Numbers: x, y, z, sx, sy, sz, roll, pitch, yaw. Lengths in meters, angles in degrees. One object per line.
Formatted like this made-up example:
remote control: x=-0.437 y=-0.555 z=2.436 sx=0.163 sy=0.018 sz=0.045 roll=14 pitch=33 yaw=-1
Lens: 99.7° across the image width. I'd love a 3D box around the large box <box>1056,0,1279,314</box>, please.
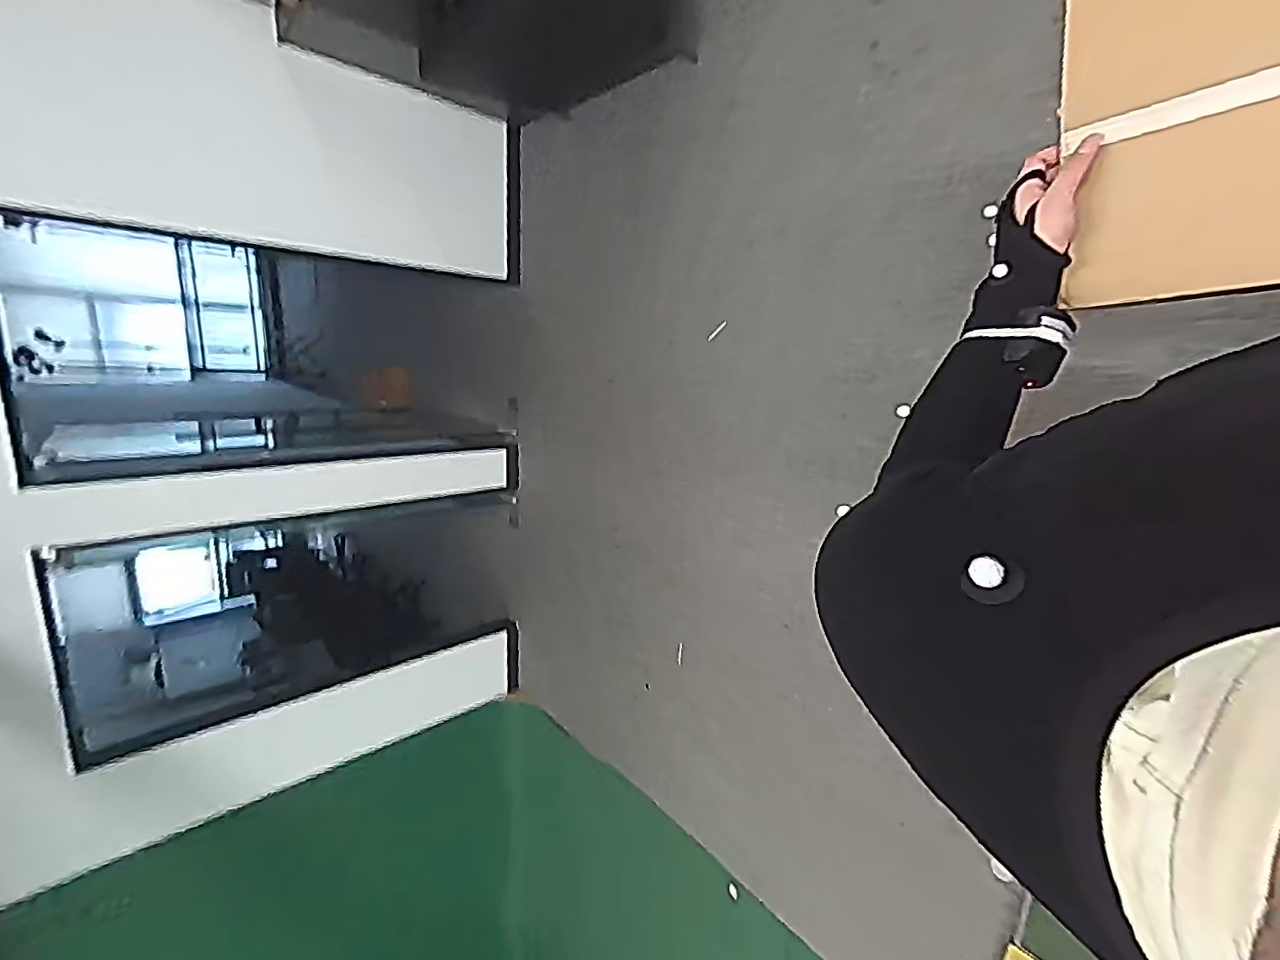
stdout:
large box: x=0.661 y=-0.350 z=0.507 sx=0.408 sy=0.320 sz=0.320 roll=3 pitch=105 yaw=45
